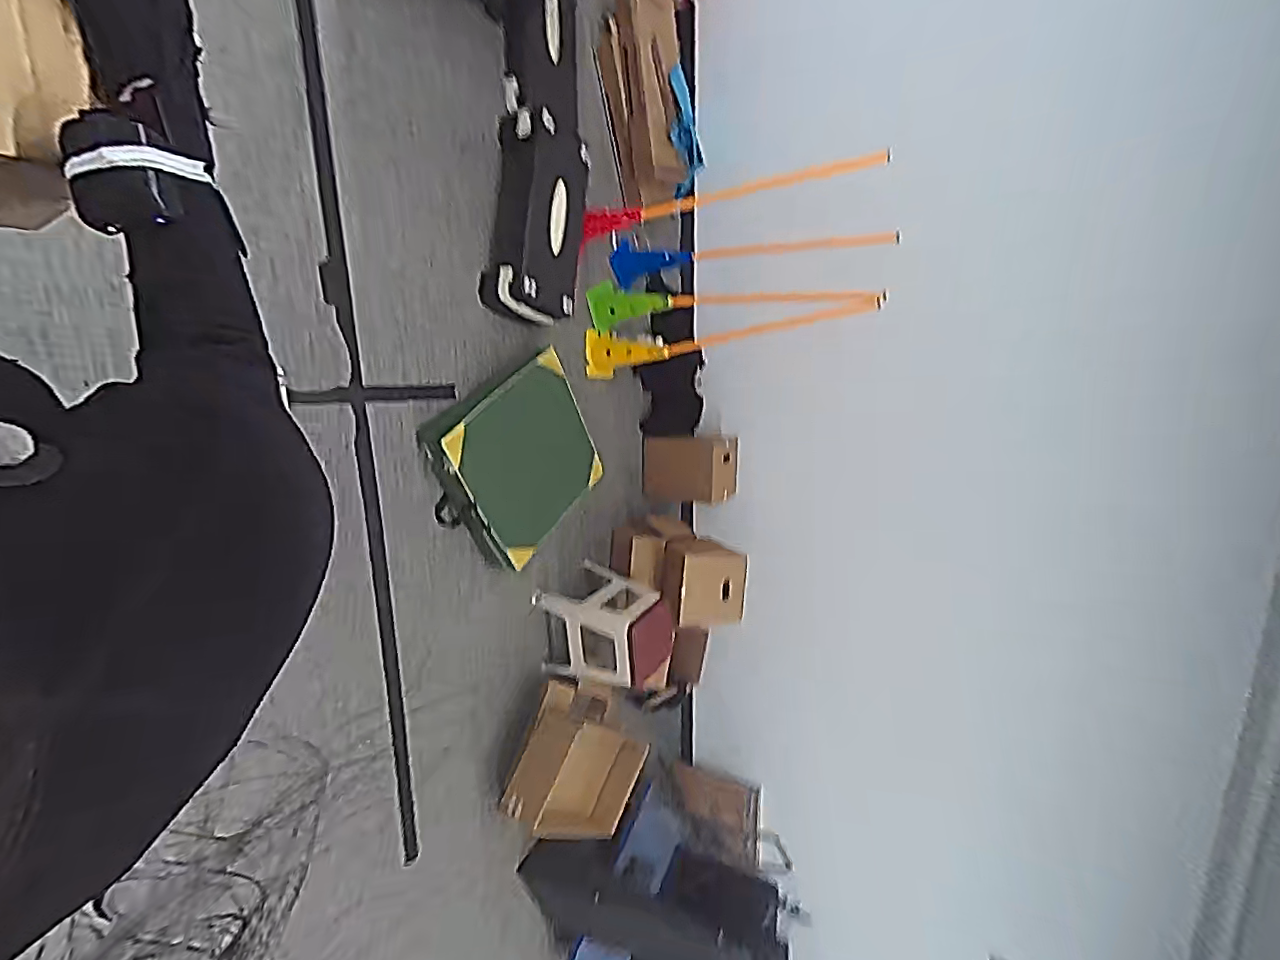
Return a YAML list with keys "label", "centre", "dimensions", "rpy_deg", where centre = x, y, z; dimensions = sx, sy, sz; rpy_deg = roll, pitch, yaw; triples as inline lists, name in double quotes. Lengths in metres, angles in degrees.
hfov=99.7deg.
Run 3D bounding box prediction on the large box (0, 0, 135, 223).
- label: "large box"
  centre: [-0.616, -0.363, 0.300]
  dimensions: [0.408, 0.320, 0.320]
  rpy_deg: [-17, 112, -54]
